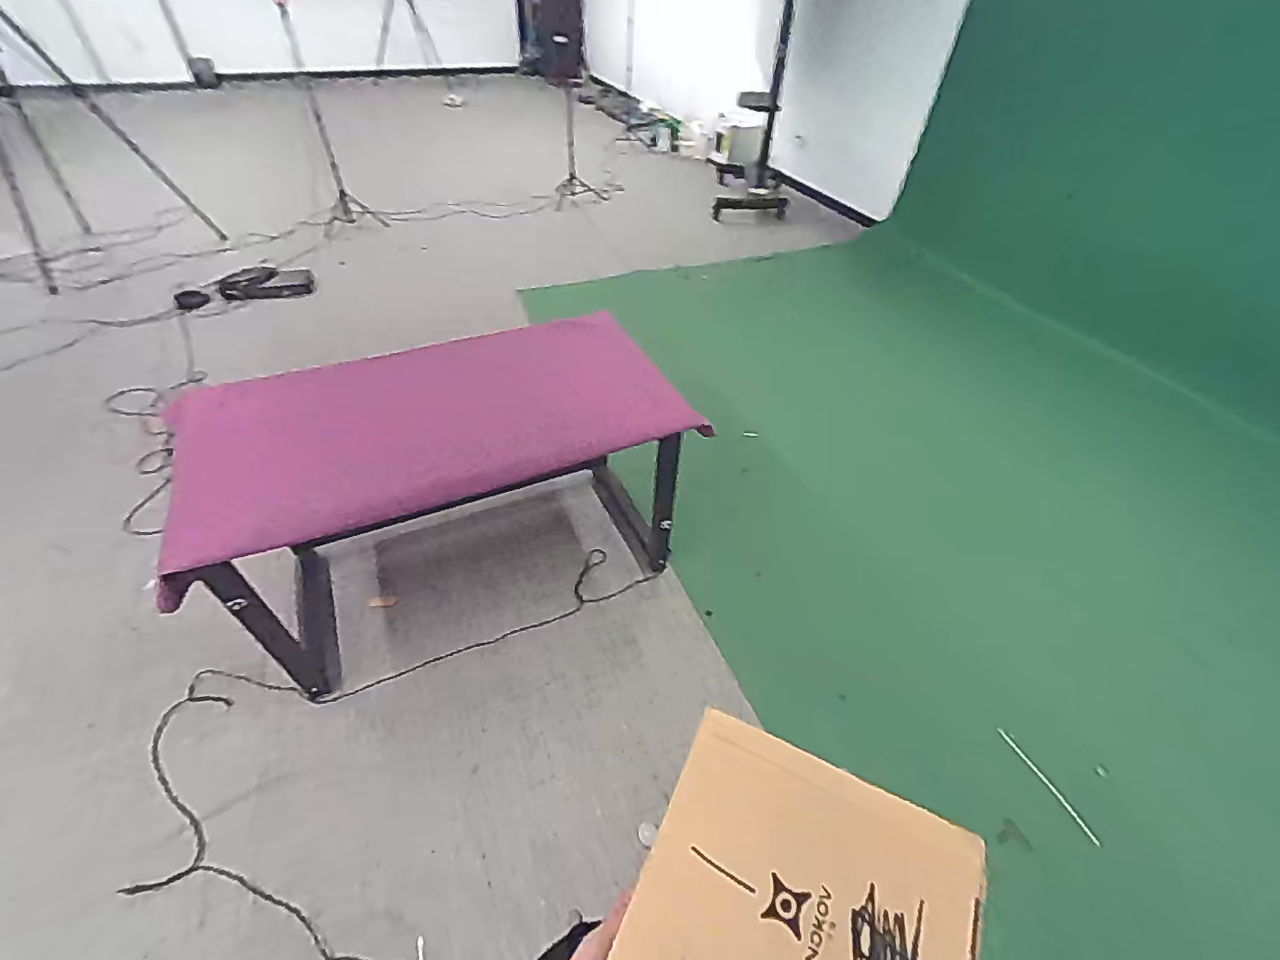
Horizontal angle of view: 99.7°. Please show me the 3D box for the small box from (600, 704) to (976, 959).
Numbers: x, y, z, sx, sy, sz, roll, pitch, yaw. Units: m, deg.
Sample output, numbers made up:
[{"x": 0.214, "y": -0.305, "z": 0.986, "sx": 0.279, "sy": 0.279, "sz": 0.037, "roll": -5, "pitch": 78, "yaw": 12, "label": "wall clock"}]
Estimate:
[{"x": 0.087, "y": 0.284, "z": 0.362, "sx": 0.179, "sy": 0.176, "sz": 0.168, "roll": 20, "pitch": 55, "yaw": 16, "label": "small box"}]
